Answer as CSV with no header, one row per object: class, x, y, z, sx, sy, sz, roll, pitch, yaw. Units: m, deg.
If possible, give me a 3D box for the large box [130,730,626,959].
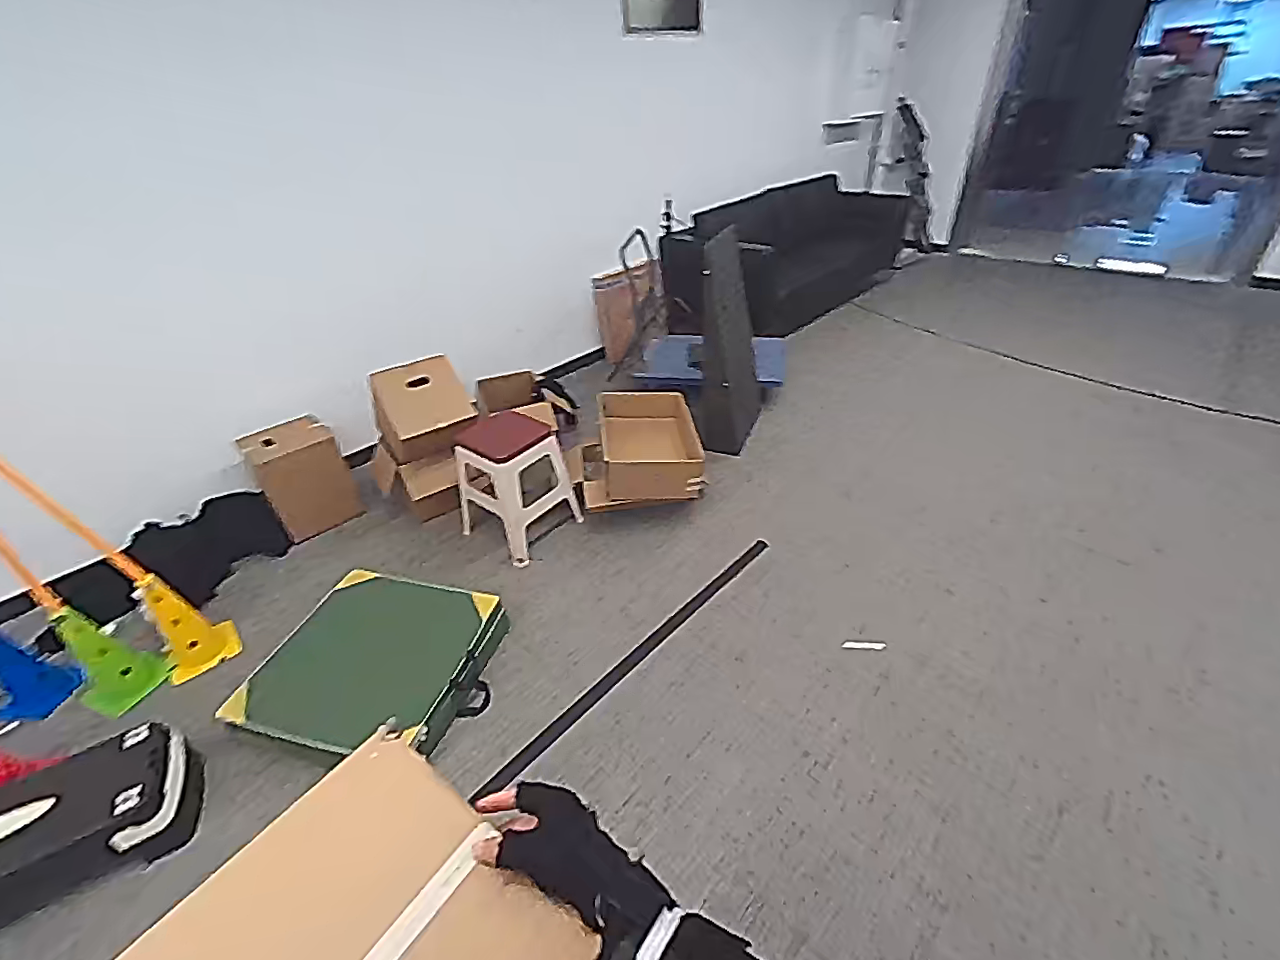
large box,-0.252,0.524,0.446,0.320,0.320,0.408,26,43,25
